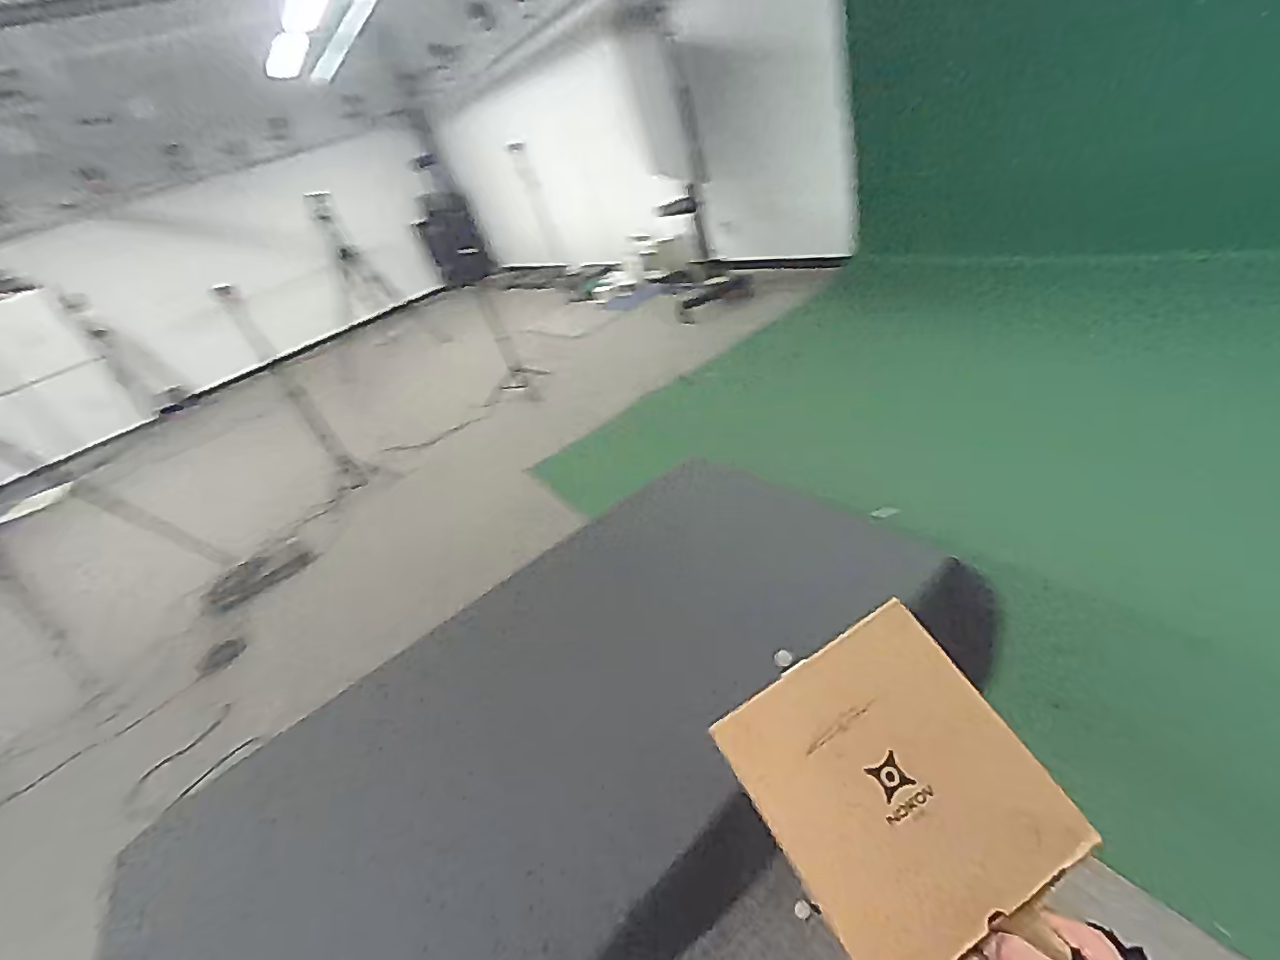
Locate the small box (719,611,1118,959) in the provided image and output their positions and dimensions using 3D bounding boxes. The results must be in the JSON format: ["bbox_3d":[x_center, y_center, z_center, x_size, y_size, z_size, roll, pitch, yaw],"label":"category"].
[{"bbox_3d":[0.175,0.228,0.408,0.168,0.176,0.179,-32,66,-8],"label":"small box"}]
